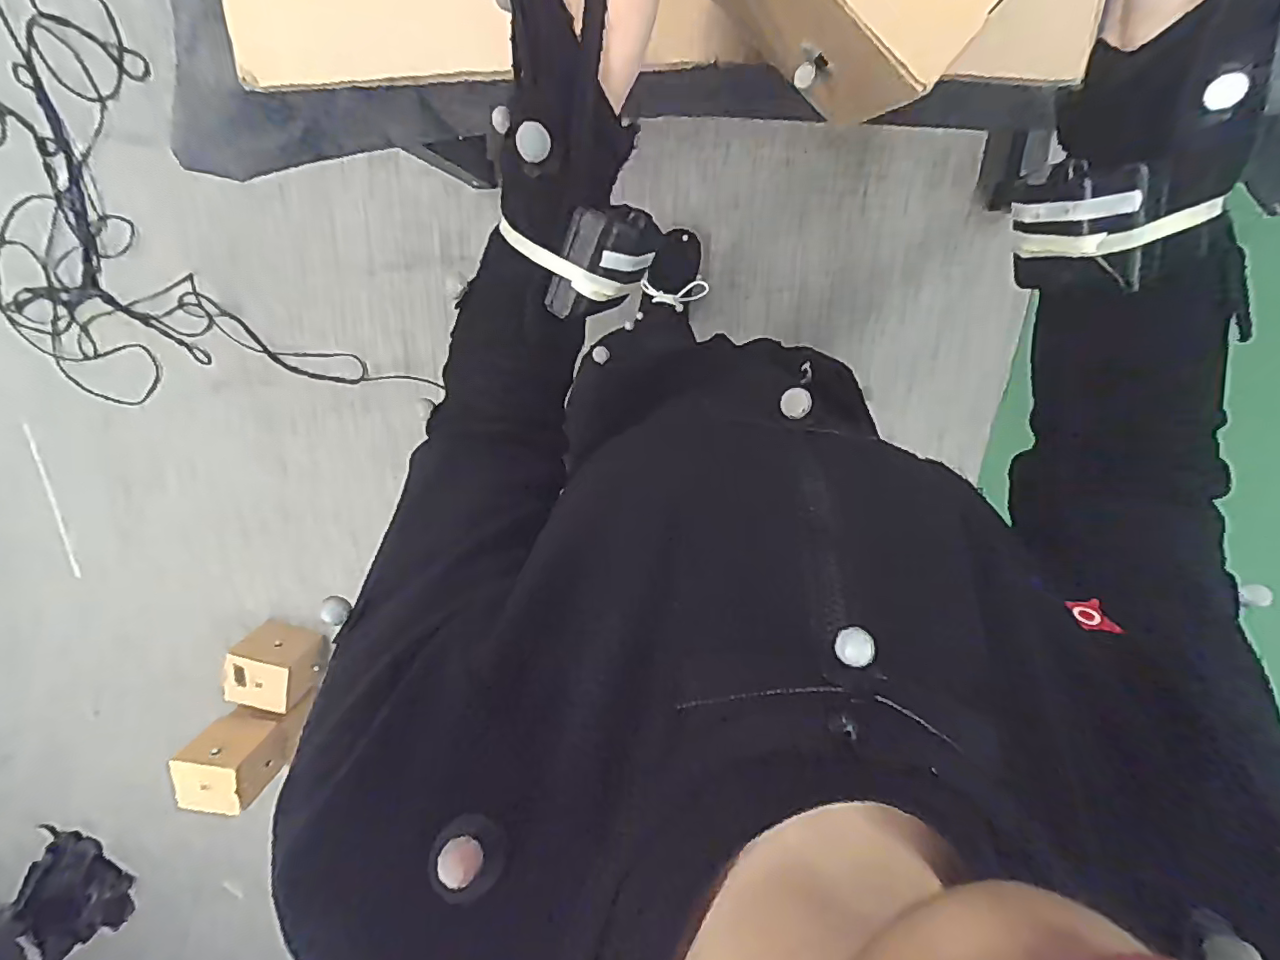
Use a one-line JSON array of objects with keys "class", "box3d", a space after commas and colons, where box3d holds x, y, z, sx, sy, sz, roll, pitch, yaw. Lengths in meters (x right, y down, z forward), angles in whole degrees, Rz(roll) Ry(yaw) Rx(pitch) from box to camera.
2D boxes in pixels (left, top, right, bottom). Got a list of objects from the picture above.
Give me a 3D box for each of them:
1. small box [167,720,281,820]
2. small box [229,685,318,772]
[{"class": "small box", "box3d": [-1.127, 0.785, 1.477, 0.179, 0.176, 0.168, 7, 108, 1]}, {"class": "small box", "box3d": [-1.103, 0.747, 1.635, 0.179, 0.176, 0.168, 7, 109, 1]}]
